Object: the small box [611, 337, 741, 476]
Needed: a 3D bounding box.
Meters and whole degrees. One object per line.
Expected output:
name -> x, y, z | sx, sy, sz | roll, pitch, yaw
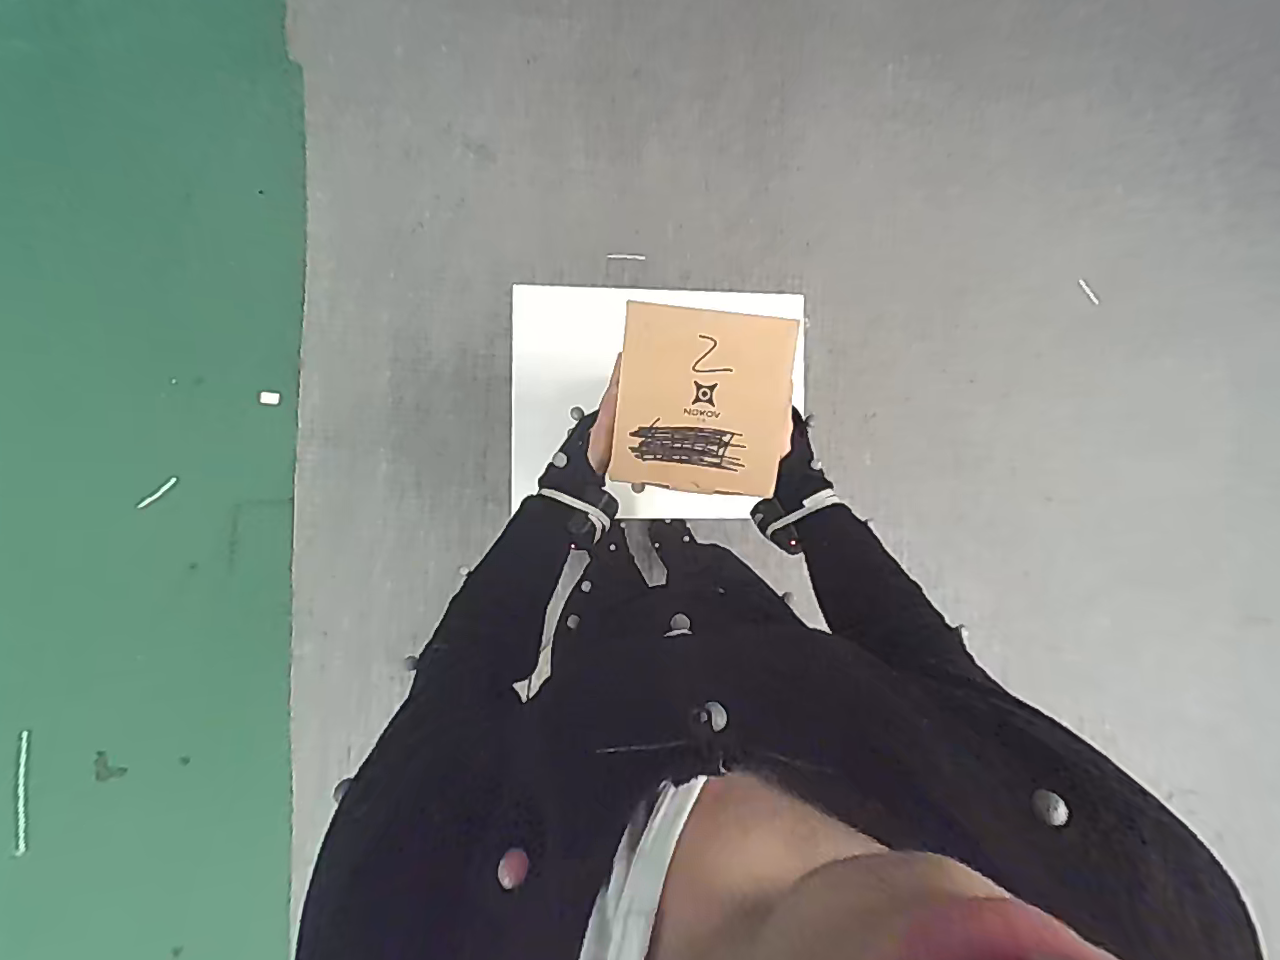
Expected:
small box -> 0.047, -0.102, 0.836 | 0.168, 0.176, 0.179 | 6, 89, -5
